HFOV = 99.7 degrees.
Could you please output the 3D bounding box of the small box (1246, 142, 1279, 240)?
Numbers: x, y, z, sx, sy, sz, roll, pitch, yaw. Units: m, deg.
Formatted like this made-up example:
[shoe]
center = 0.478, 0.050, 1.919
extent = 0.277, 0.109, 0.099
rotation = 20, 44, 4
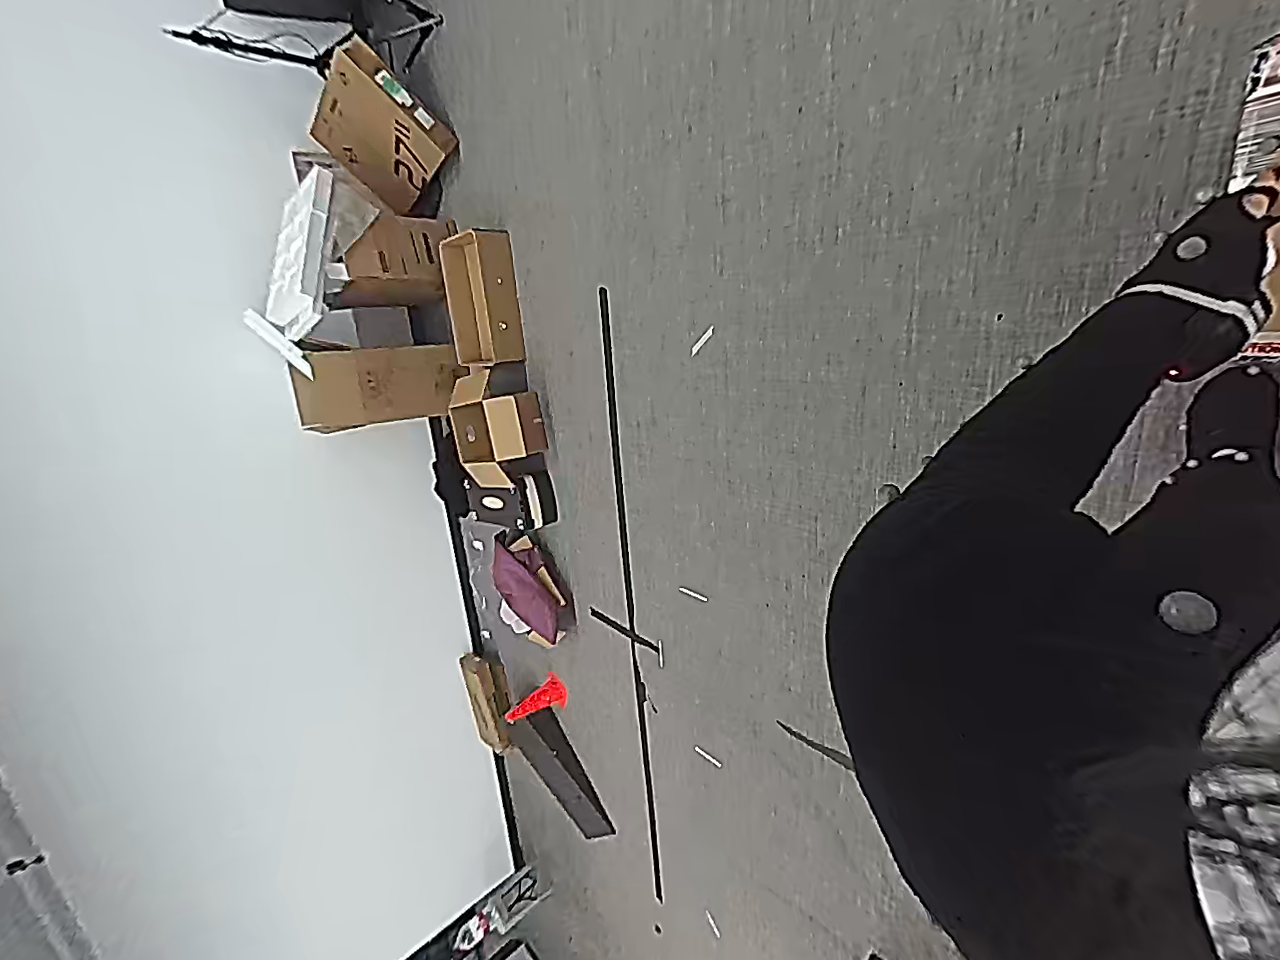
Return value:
[small box]
center = 0.636, -0.290, 0.428
extent = 0.168, 0.176, 0.179
rotation = 21, 122, 41
